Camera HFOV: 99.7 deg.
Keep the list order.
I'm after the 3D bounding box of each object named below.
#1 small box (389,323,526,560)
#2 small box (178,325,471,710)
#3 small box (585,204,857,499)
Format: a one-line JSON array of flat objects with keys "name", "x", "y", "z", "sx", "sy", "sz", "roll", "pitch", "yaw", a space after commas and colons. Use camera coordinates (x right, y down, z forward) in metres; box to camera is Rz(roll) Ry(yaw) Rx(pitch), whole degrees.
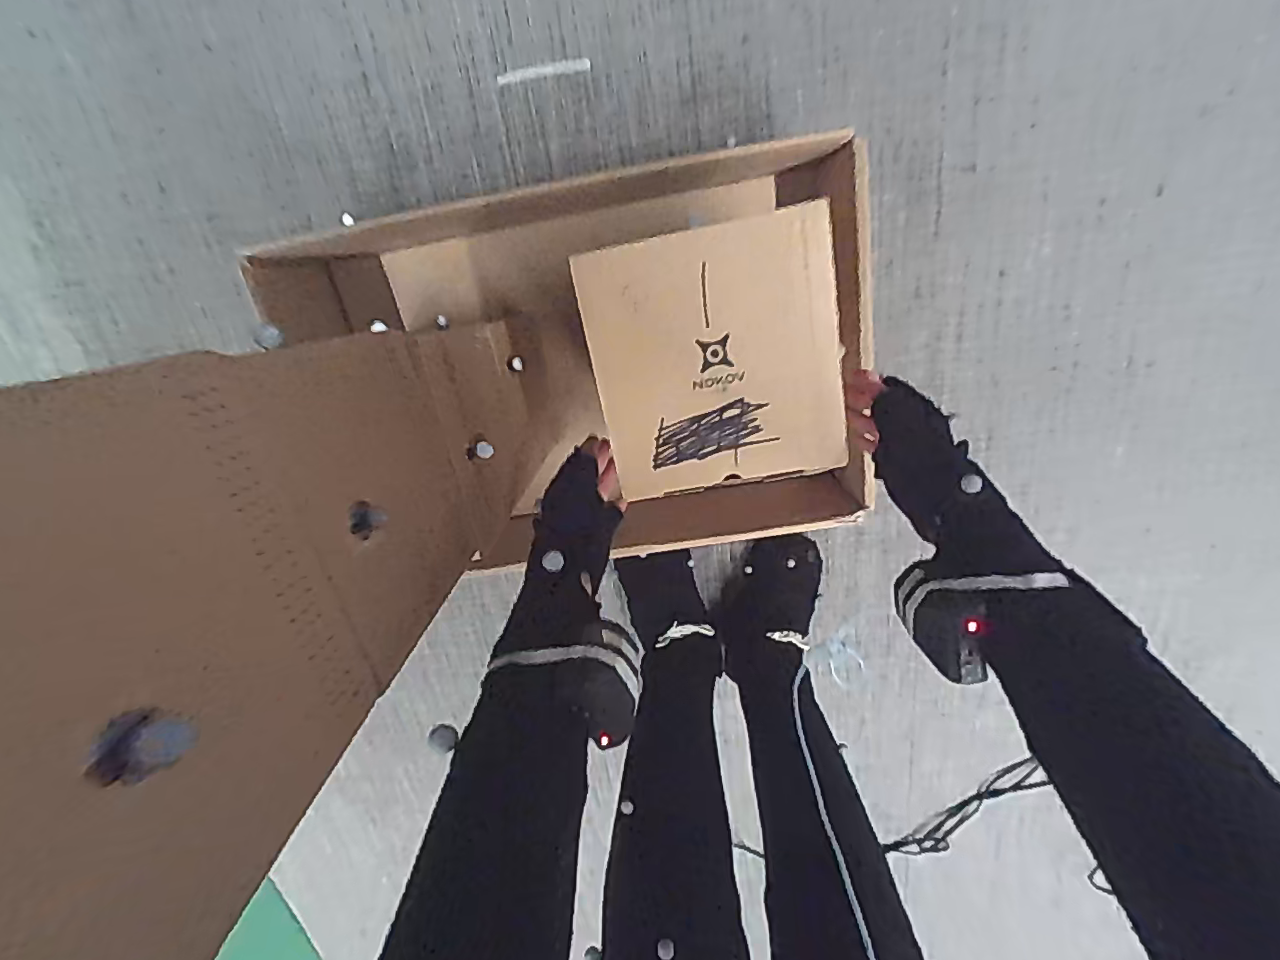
[{"name": "small box", "x": -0.212, "y": -0.036, "z": 0.473, "sx": 0.168, "sy": 0.176, "sz": 0.179, "roll": -9, "pitch": 111, "yaw": 5}, {"name": "small box", "x": -0.220, "y": 0.017, "z": 0.319, "sx": 0.168, "sy": 0.176, "sz": 0.179, "roll": -10, "pitch": 110, "yaw": 5}, {"name": "small box", "x": 0.061, "y": -0.104, "z": 0.427, "sx": 0.168, "sy": 0.176, "sz": 0.179, "roll": -7, "pitch": 111, "yaw": 5}]
